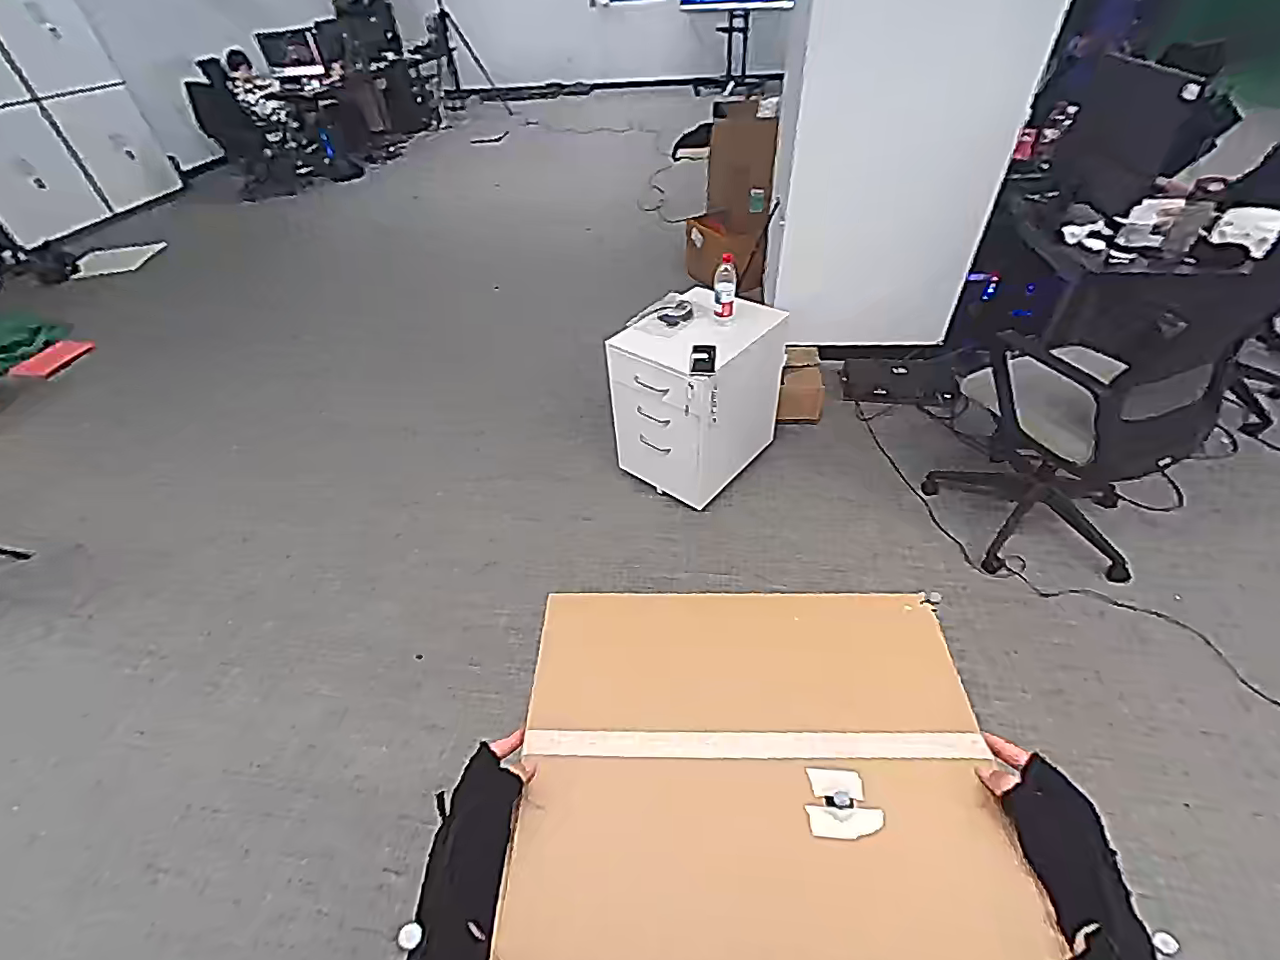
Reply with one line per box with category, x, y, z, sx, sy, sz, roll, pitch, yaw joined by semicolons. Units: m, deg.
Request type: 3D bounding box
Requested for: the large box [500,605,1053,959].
large box;0.099;0.352;0.588;0.408;0.320;0.320;-1;46;2
